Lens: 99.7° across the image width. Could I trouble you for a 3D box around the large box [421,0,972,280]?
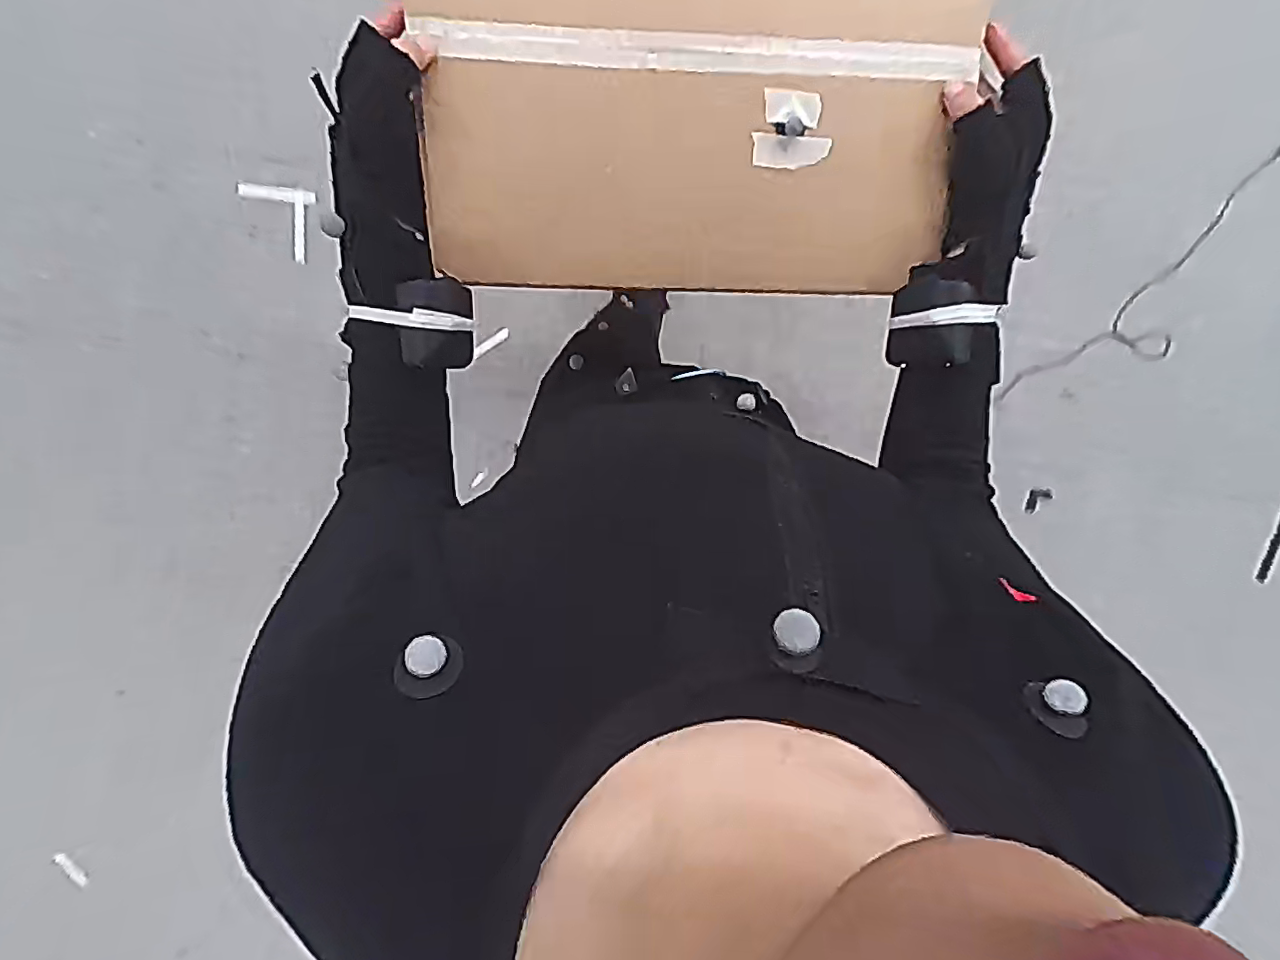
[{"bbox_3d":[0.031,-0.367,0.533,0.408,0.320,0.320,-1,112,-5],"label":"large box"}]
